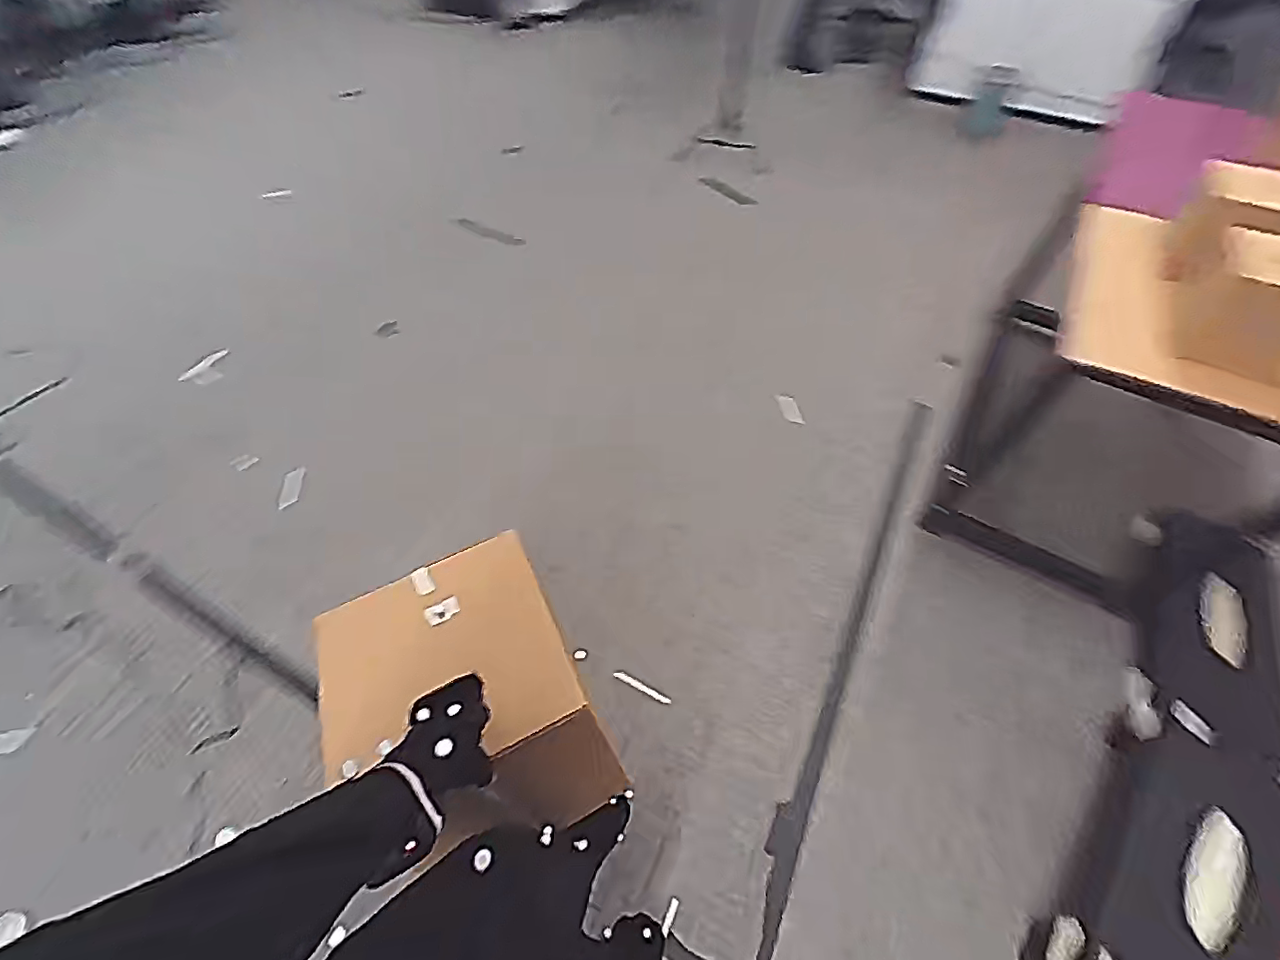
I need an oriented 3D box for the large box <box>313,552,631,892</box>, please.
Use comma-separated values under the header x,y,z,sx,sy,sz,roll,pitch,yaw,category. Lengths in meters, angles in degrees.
x,y,z,sx,sy,sz,roll,pitch,yaw,category
-0.244,0.387,0.860,0.320,0.408,0.320,-25,50,-12,large box
